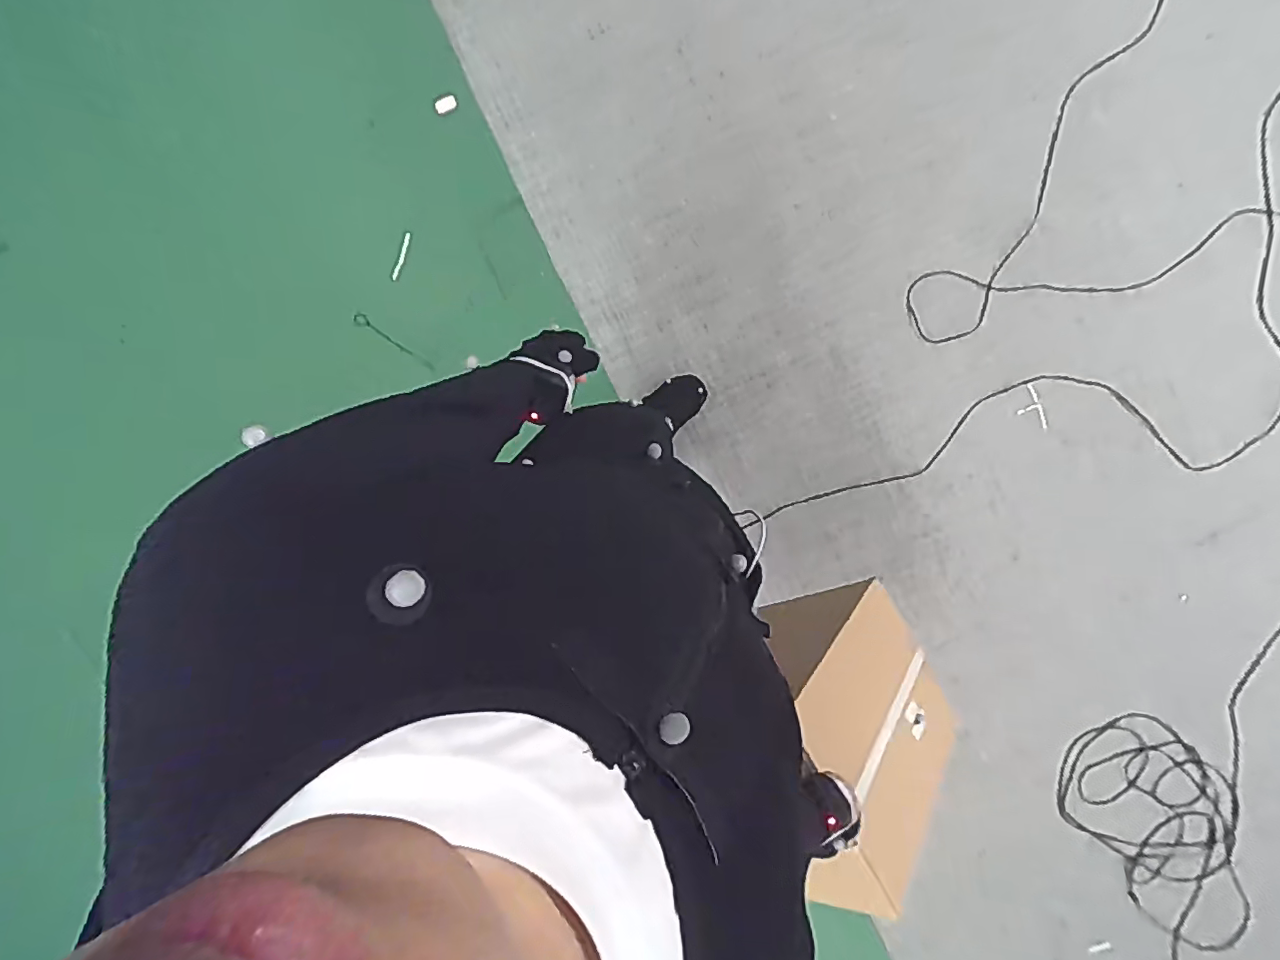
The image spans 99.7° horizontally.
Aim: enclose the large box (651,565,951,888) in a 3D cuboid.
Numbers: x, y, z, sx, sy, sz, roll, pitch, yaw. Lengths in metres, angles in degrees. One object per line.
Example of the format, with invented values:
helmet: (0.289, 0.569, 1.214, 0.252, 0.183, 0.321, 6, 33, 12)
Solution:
large box: (0.297, 0.413, 0.979, 0.320, 0.408, 0.320, -29, 90, 45)
